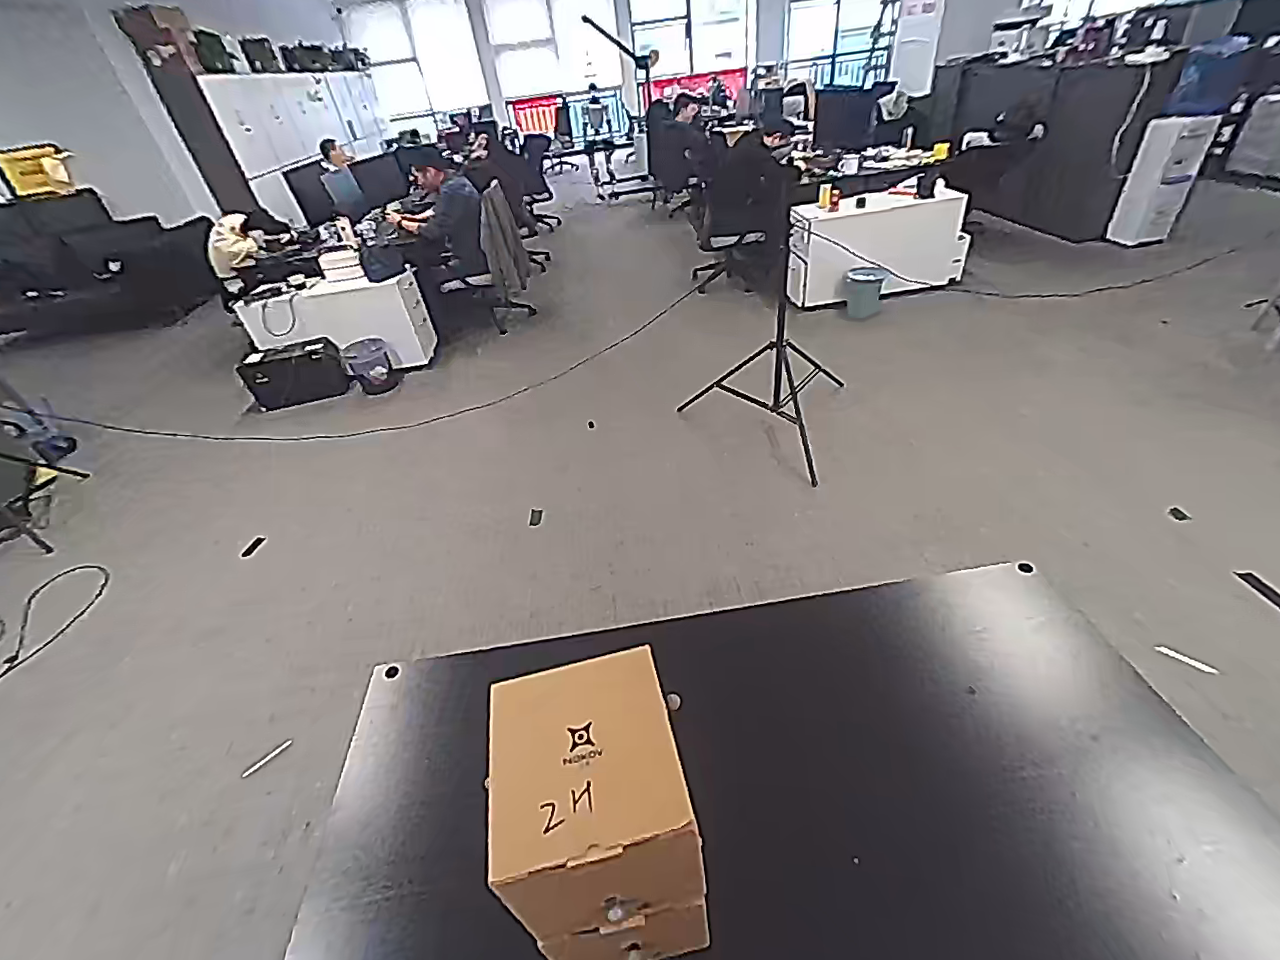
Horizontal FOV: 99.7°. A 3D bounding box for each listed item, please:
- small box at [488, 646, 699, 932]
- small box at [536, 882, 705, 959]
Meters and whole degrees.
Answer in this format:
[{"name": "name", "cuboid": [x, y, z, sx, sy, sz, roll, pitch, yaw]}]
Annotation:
[{"name": "small box", "cuboid": [-0.045, 0.302, 0.538, 0.168, 0.176, 0.179, -13, 38, -5]}, {"name": "small box", "cuboid": [-0.024, 0.435, 0.636, 0.168, 0.176, 0.179, -12, 38, -4]}]
